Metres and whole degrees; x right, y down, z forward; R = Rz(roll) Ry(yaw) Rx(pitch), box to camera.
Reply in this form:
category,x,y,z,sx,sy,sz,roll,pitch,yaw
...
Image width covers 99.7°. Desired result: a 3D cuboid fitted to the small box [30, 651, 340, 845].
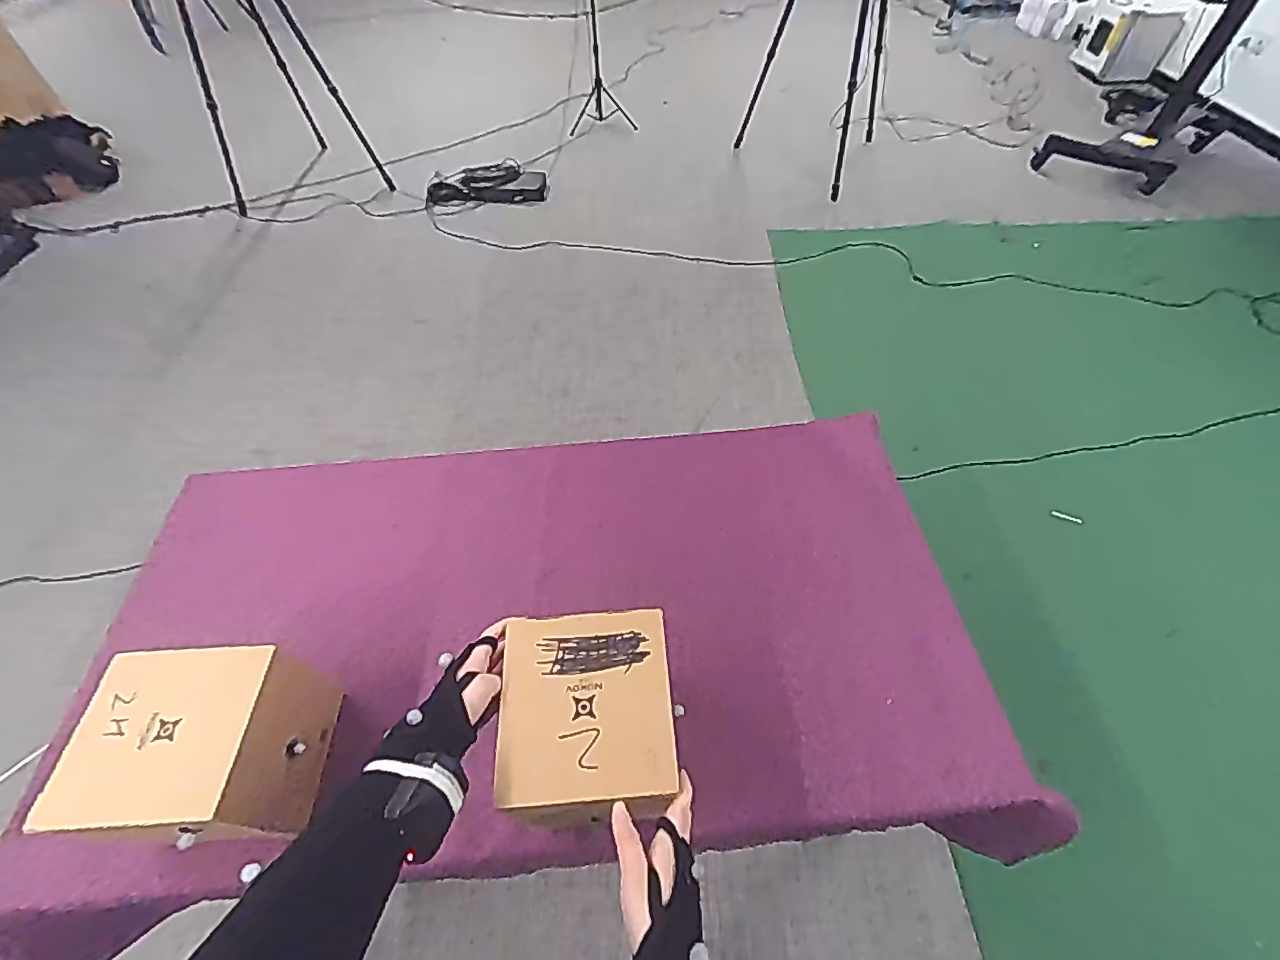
category,x,y,z,sx,sy,sz,roll,pitch,yaw
small box,-0.477,0.304,0.608,0.179,0.176,0.168,-3,52,0
